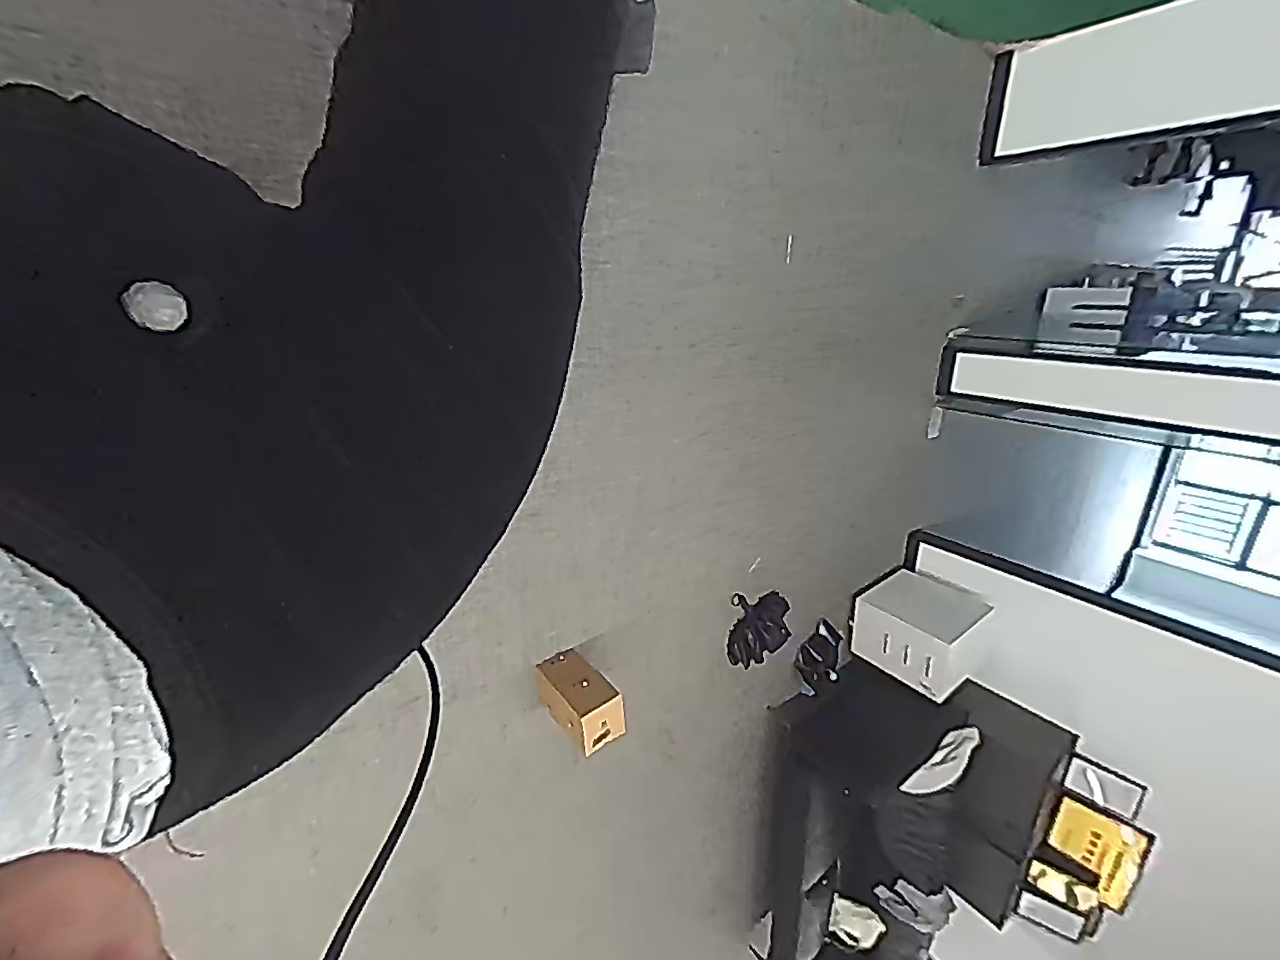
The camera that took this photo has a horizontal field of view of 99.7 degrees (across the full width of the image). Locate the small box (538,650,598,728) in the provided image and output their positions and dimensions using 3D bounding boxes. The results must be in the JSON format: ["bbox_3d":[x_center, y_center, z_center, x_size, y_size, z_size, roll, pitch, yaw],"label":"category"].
[{"bbox_3d":[-0.261,0.774,2.020,0.168,0.176,0.179,-21,116,-33],"label":"small box"}]

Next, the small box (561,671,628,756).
[{"bbox_3d":[-0.160,0.810,1.895,0.168,0.176,0.179,-21,117,-33],"label":"small box"}]
